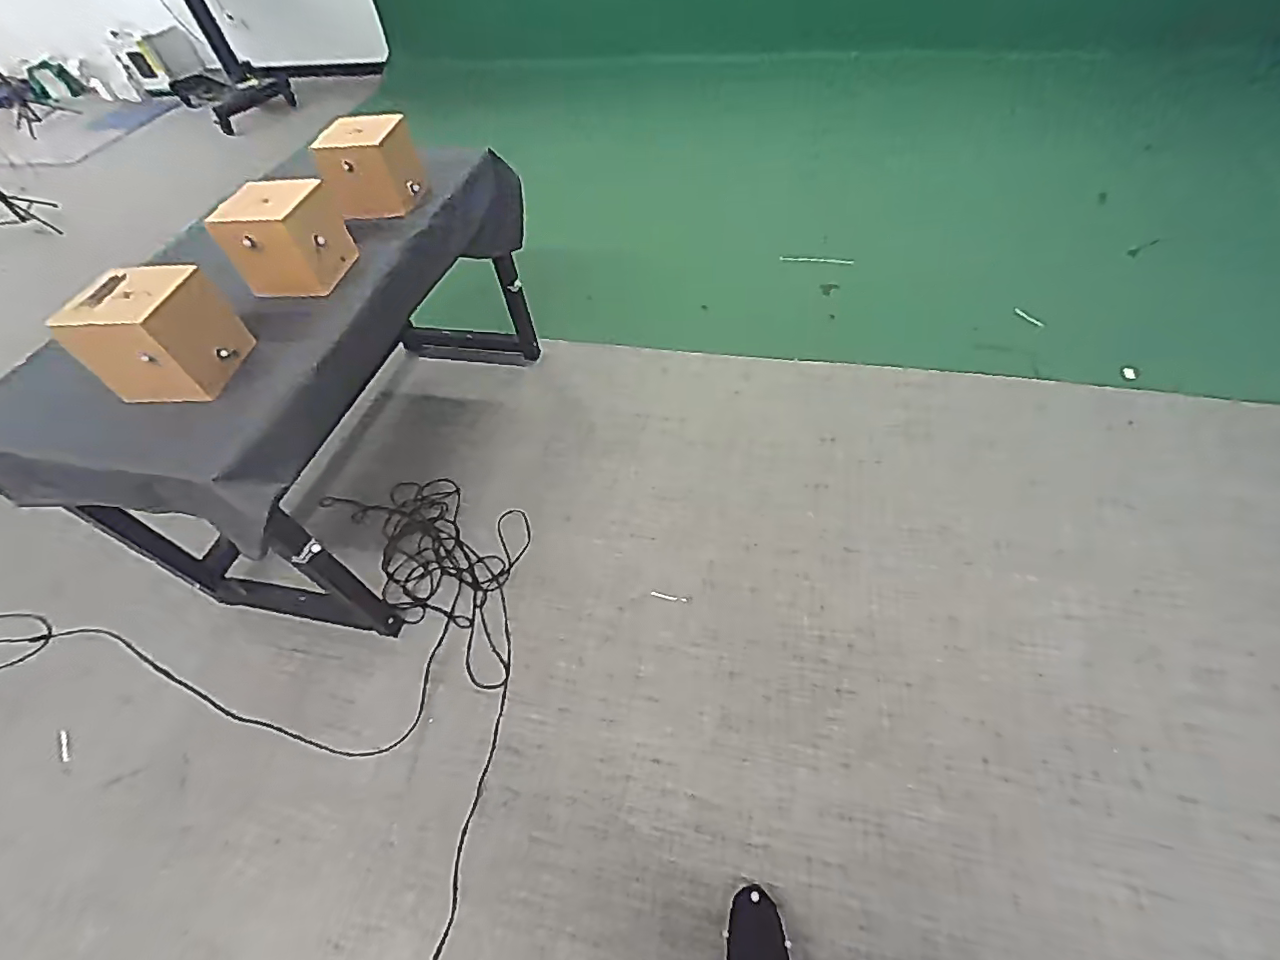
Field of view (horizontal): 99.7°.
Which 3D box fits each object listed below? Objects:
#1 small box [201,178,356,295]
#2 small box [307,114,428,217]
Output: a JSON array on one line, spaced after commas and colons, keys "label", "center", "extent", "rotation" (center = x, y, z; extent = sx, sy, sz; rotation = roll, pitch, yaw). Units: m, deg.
[{"label": "small box", "center": [-0.736, -0.503, 1.128], "extent": [0.179, 0.176, 0.168], "rotation": [3, 53, 9]}, {"label": "small box", "center": [-0.649, -0.758, 1.312], "extent": [0.179, 0.176, 0.168], "rotation": [2, 54, 7]}]
